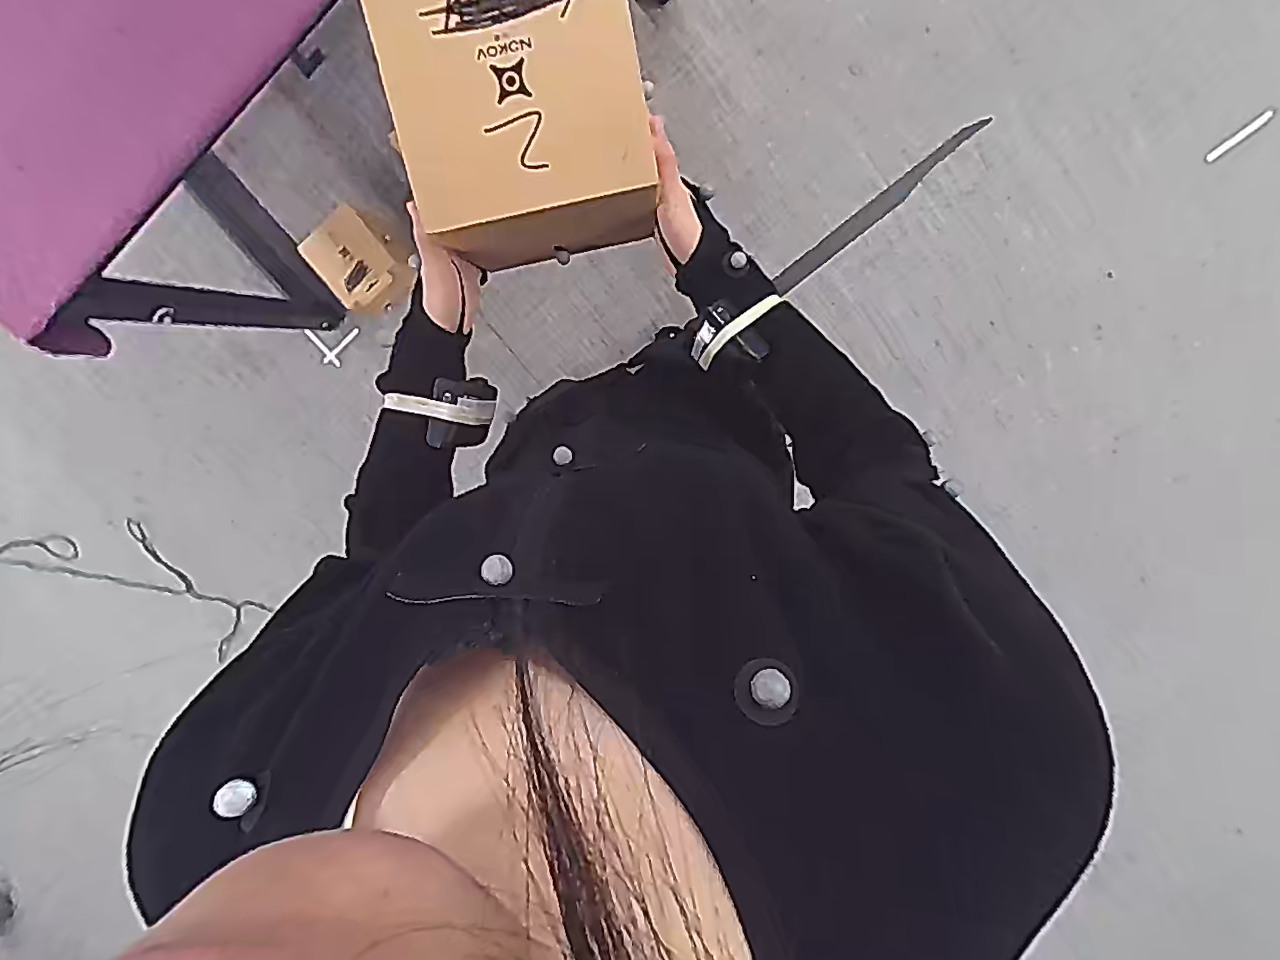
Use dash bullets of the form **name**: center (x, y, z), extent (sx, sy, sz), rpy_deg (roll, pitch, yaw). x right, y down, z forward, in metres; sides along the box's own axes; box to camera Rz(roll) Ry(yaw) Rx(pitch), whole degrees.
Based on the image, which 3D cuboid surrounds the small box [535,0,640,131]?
- **small box**: center (-0.107, -0.918, 1.197), extent (0.179, 0.176, 0.168), rpy_deg (-21, 103, 9)

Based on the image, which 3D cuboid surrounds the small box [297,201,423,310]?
- **small box**: center (-0.669, -0.534, 1.316), extent (0.168, 0.176, 0.179), rpy_deg (-37, 99, 11)
